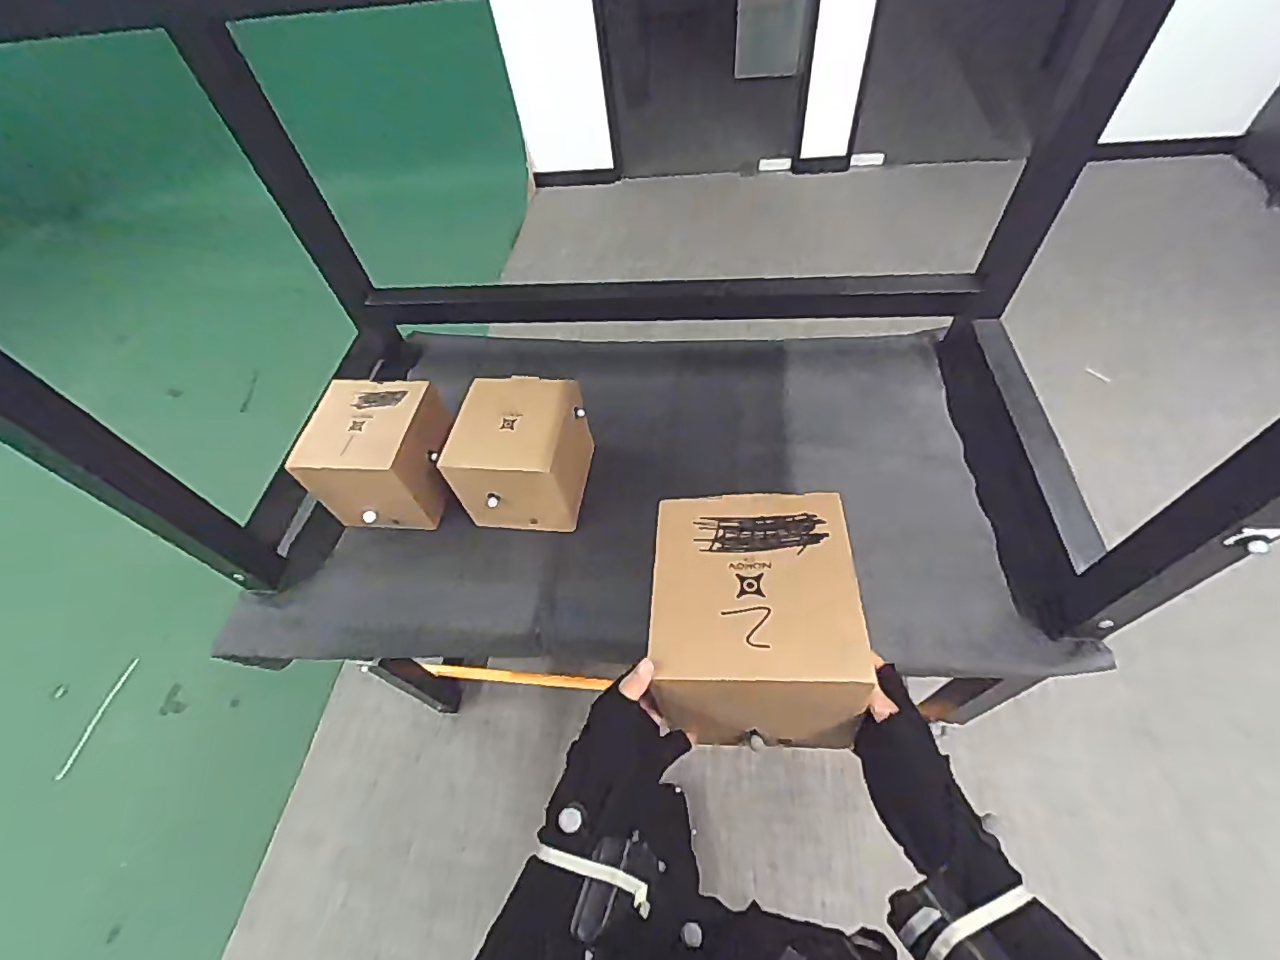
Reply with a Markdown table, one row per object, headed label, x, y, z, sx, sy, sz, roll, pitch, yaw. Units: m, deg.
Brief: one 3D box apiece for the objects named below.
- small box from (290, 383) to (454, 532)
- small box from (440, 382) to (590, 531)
| label | x | y | z | sx | sy | sz | roll | pitch | yaw |
| --- | --- | --- | --- | --- | --- | --- | --- | --- | --- |
| small box | -0.408 | -0.036 | 0.878 | 0.168 | 0.176 | 0.179 | 2 | 55 | 8 |
| small box | -0.182 | -0.034 | 0.854 | 0.168 | 0.176 | 0.179 | 3 | 54 | 8 |
